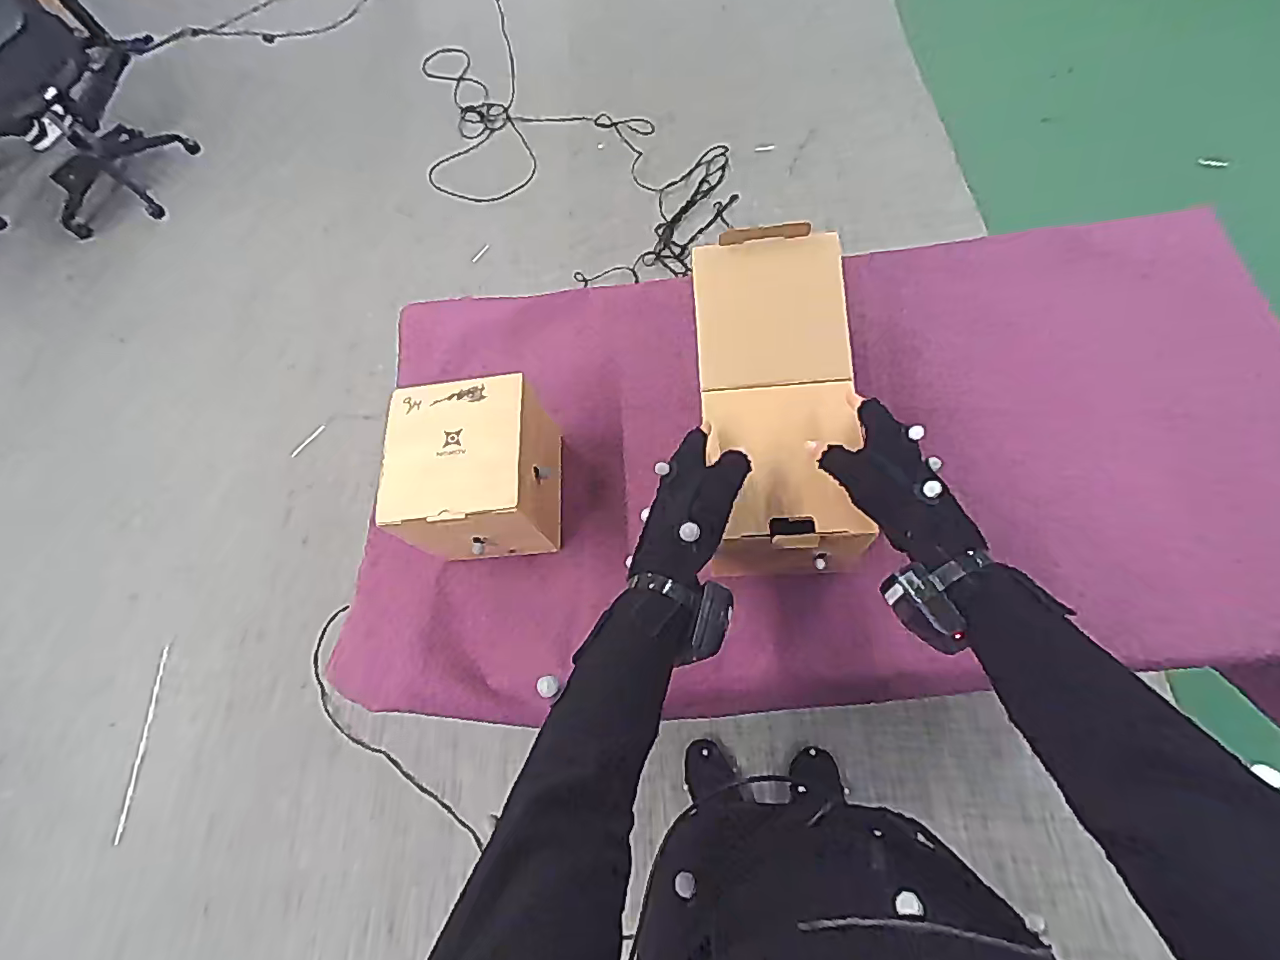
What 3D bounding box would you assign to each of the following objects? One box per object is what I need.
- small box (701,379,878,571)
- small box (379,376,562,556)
[{"bbox_3d":[0.160,0.006,0.628,0.168,0.176,0.179,-3,67,7],"label":"small box"},{"bbox_3d":[-0.200,-0.006,0.689,0.168,0.176,0.179,-6,67,6],"label":"small box"}]
